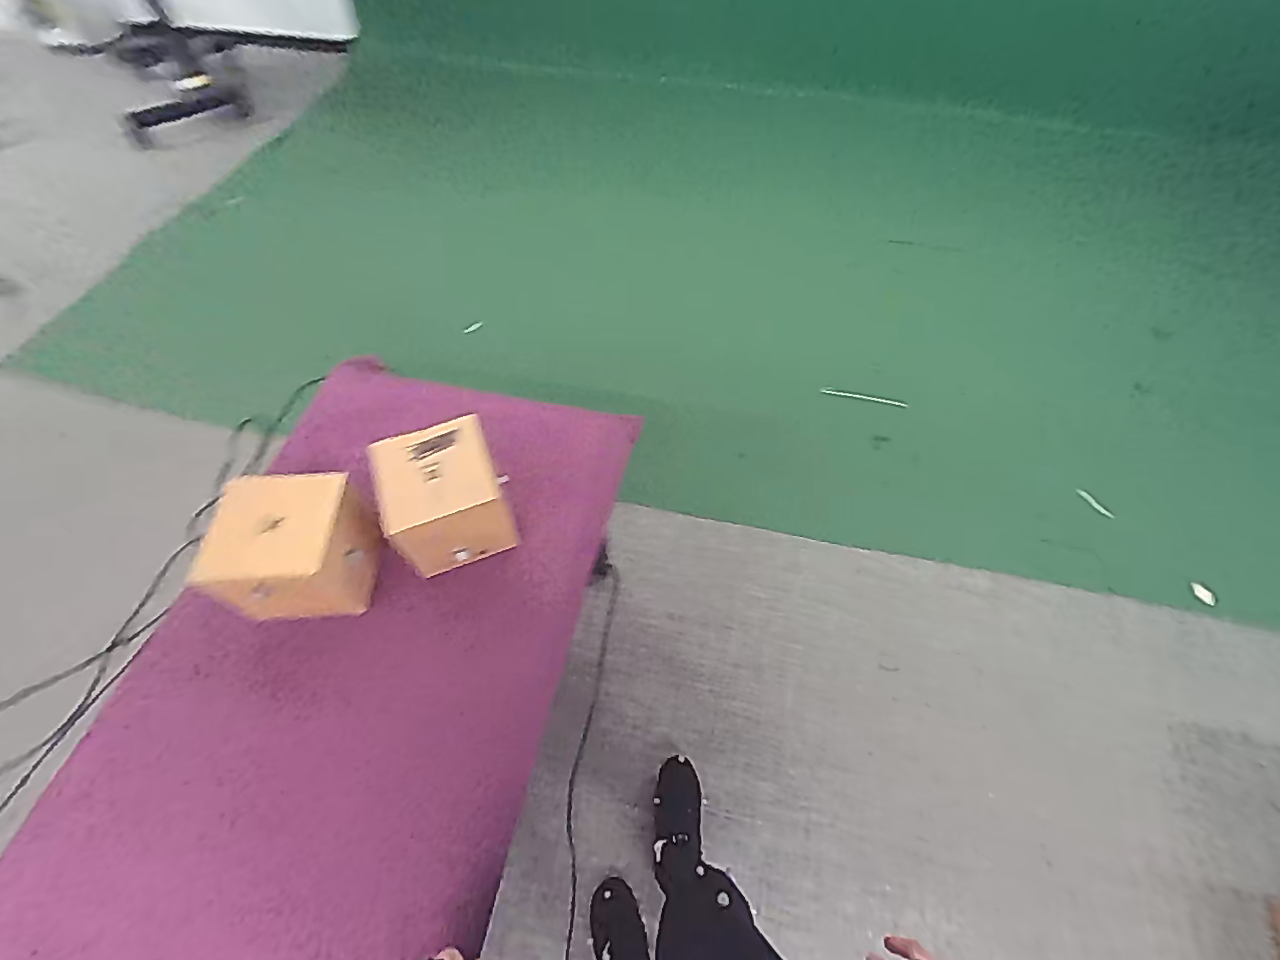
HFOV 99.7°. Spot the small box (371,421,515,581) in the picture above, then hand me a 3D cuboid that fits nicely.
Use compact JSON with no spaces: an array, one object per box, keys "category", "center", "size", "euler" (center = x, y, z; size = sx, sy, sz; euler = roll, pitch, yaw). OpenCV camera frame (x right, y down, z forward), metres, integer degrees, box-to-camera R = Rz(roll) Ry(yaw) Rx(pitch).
[{"category":"small box","center":[-0.317,0.038,0.887],"size":[0.168,0.176,0.179],"euler":[-19,60,-12]}]

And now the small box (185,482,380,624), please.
[{"category":"small box","center":[-0.531,0.117,0.838],"size":[0.179,0.176,0.168],"euler":[-3,58,-2]}]
